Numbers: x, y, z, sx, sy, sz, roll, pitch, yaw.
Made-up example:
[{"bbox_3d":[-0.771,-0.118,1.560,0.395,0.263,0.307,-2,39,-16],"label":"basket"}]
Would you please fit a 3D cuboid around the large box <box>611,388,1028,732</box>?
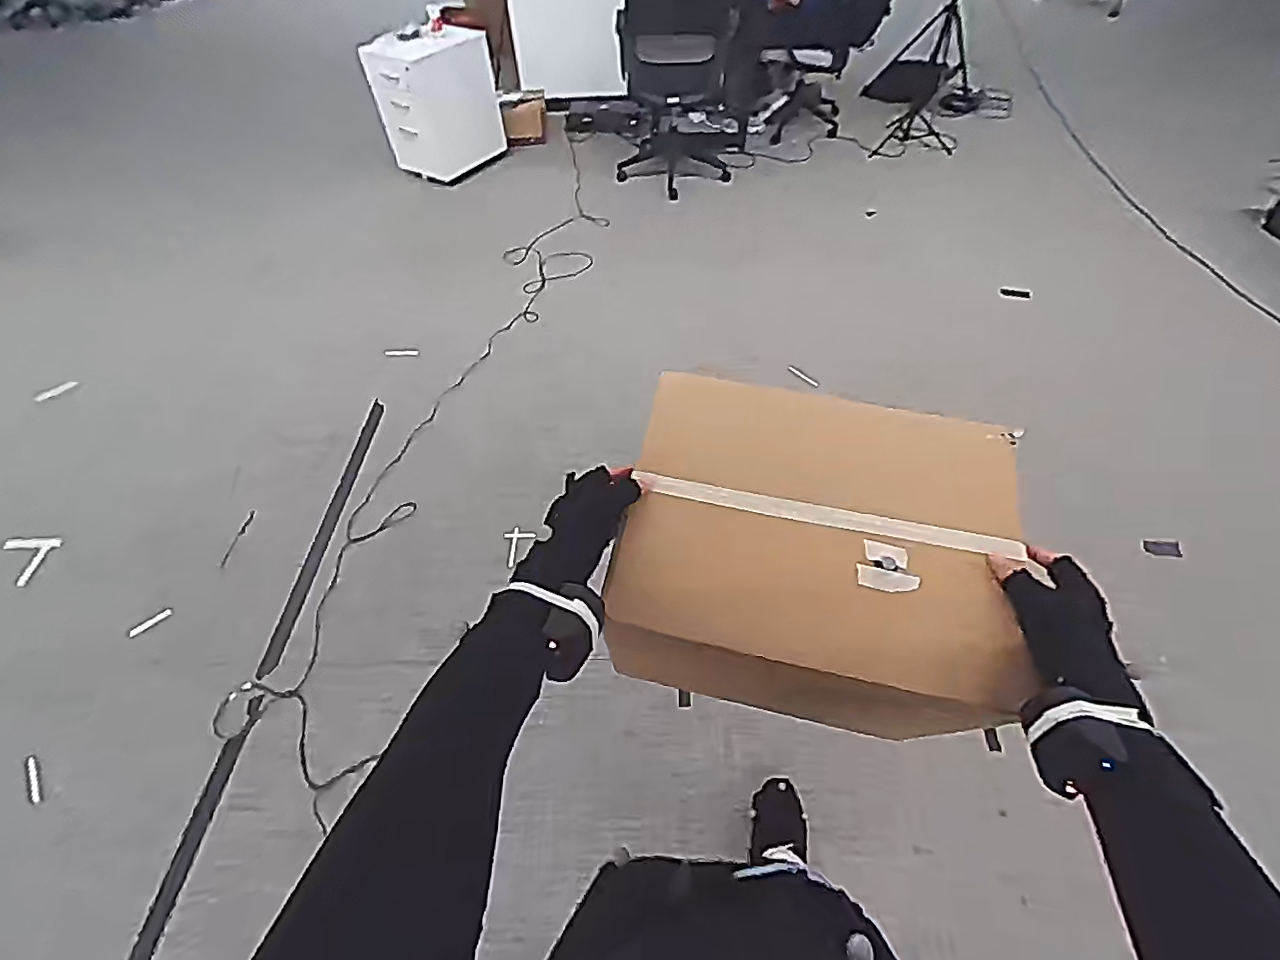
[{"bbox_3d":[0.193,0.119,0.714,0.408,0.320,0.320,11,63,6],"label":"large box"}]
